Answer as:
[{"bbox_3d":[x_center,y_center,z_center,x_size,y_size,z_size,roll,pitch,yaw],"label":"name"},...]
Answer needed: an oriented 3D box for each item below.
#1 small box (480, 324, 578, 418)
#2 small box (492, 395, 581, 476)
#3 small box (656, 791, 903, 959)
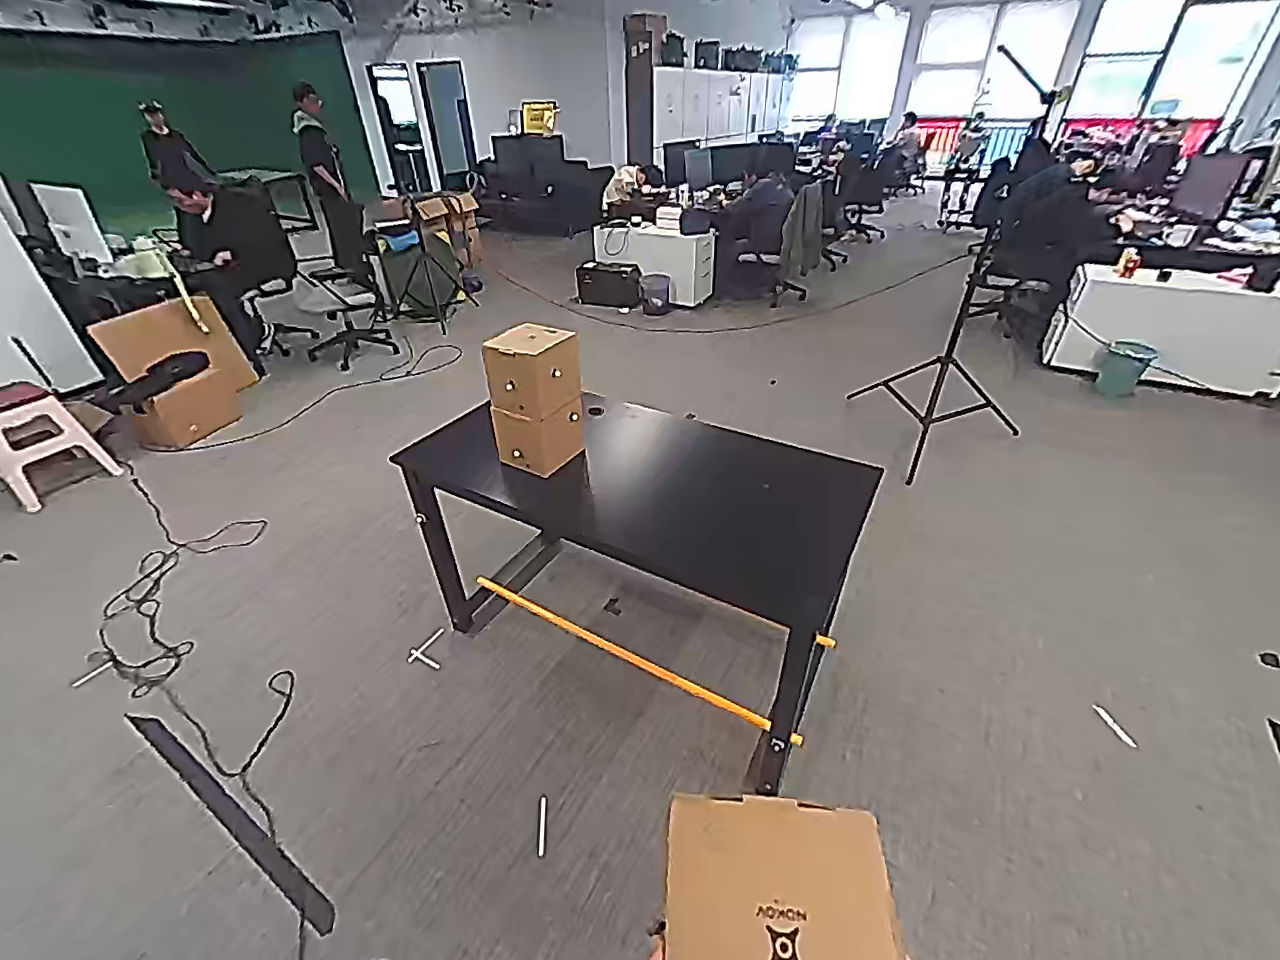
[{"bbox_3d":[-0.271,-0.277,1.373,0.168,0.176,0.179,17,40,24],"label":"small box"},{"bbox_3d":[-0.272,-0.137,1.460,0.168,0.176,0.179,19,40,26],"label":"small box"},{"bbox_3d":[0.099,0.379,0.436,0.168,0.176,0.179,3,45,3],"label":"small box"}]
